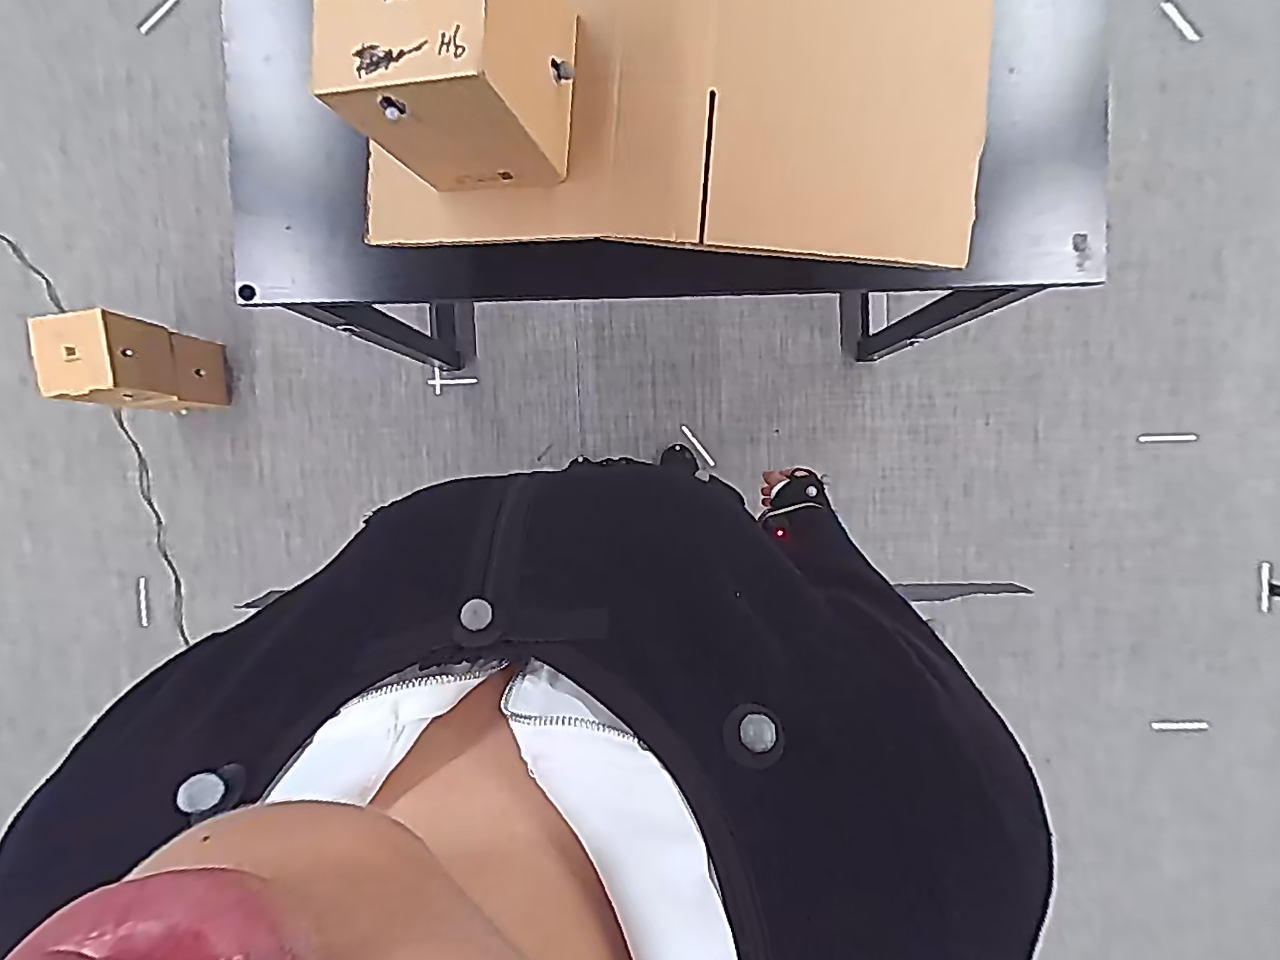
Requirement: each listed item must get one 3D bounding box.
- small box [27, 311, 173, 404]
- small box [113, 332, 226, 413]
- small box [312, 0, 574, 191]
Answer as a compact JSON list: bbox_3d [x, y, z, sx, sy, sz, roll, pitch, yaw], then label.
[{"bbox_3d":[-1.234,-0.274,1.252,0.168,0.176,0.179,-8,91,0],"label":"small box"},{"bbox_3d":[-1.231,-0.275,1.415,0.168,0.176,0.179,-5,93,1],"label":"small box"},{"bbox_3d":[-0.170,-0.405,0.512,0.168,0.176,0.179,5,92,15],"label":"small box"}]
